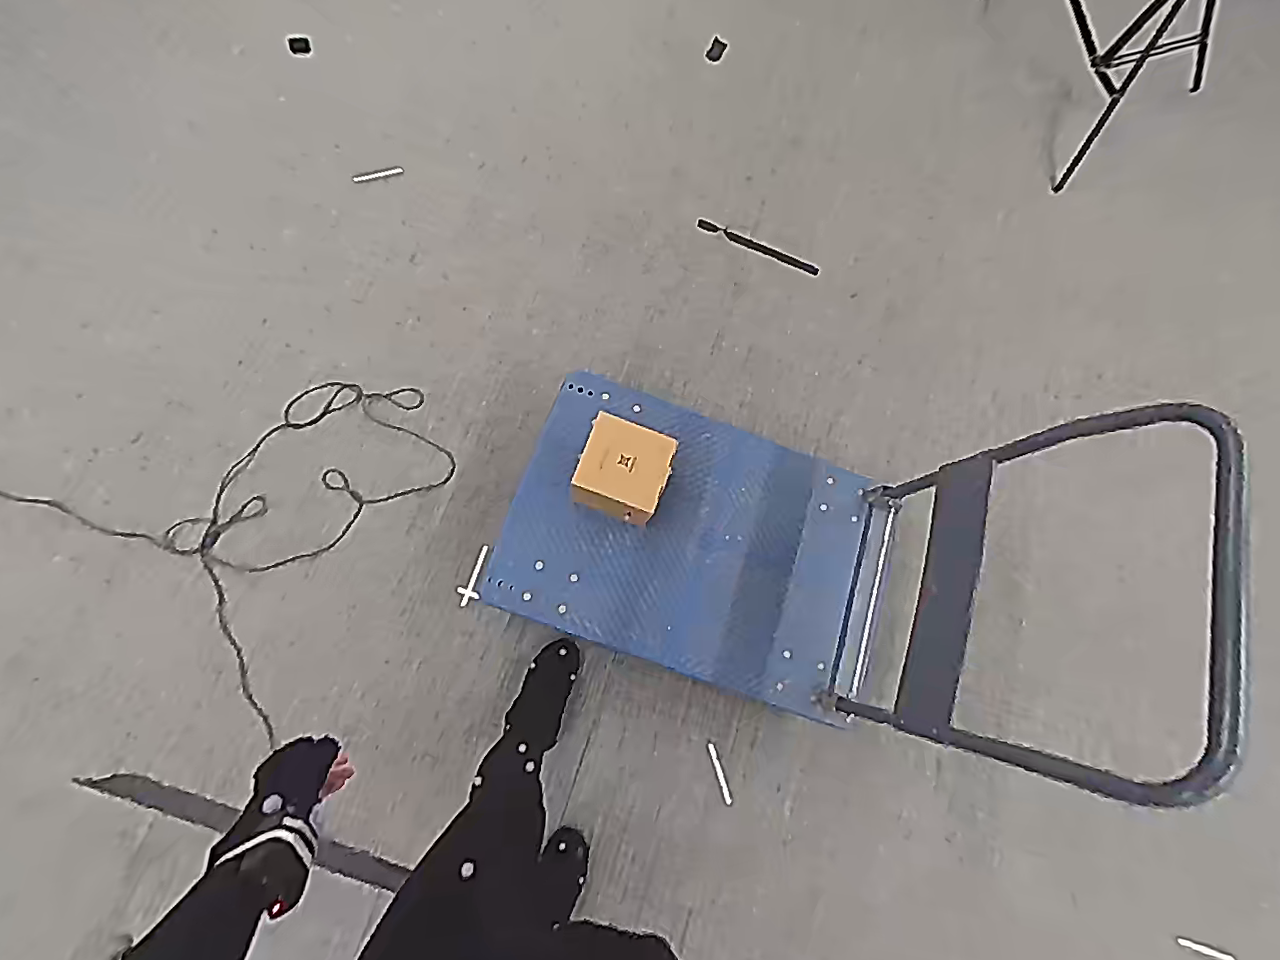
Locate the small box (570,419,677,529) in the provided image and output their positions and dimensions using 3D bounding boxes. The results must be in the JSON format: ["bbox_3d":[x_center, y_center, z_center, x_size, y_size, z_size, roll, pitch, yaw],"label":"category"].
[{"bbox_3d":[-0.041,-0.004,1.162,0.179,0.176,0.168,20,73,-1],"label":"small box"}]
